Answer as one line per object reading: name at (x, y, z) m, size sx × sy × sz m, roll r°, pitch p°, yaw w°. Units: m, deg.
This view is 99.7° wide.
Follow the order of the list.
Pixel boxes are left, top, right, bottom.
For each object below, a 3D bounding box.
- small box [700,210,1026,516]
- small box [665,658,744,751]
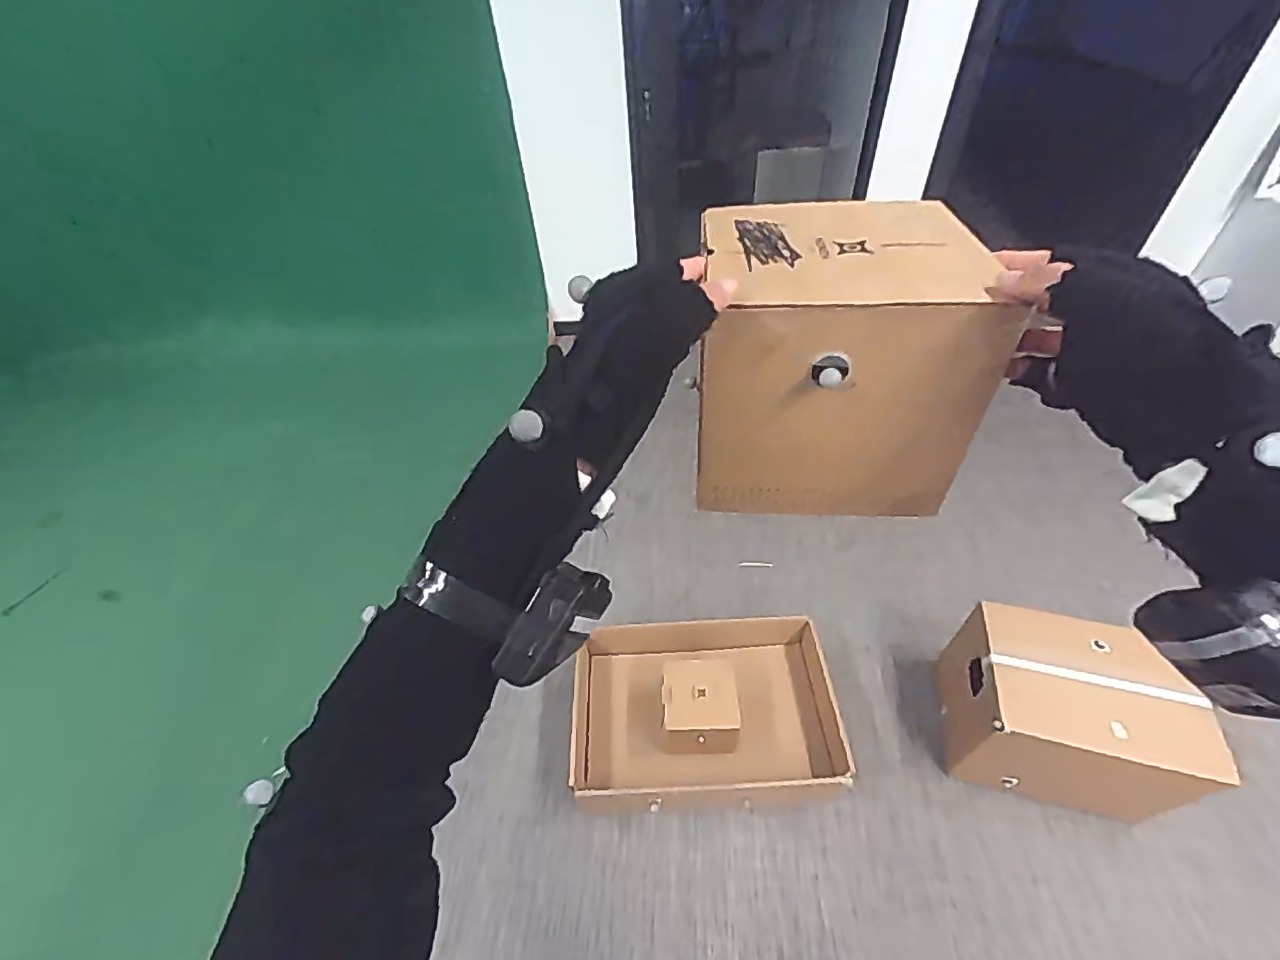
small box at (0.135, -0.087, 0.409) m, size 0.179 × 0.176 × 0.168 m, roll 1°, pitch 44°, yaw 6°
small box at (0.153, 0.556, 1.330) m, size 0.179 × 0.176 × 0.168 m, roll -2°, pitch 46°, yaw 1°
